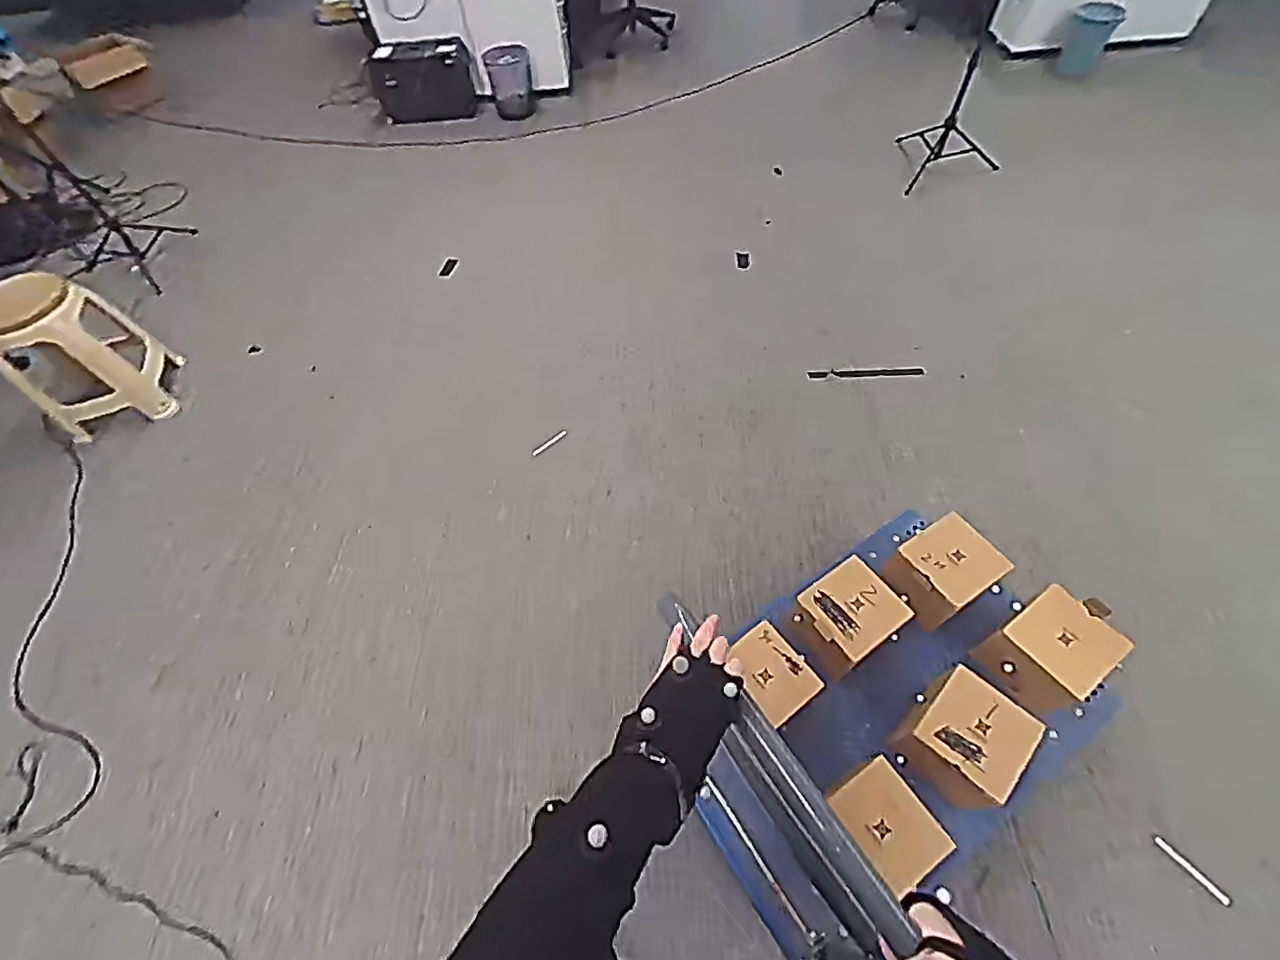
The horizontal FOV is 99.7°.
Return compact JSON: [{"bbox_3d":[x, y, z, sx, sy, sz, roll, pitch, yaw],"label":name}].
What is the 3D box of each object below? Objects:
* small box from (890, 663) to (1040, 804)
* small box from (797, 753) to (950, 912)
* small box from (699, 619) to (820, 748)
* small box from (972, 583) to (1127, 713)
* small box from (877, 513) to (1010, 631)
[{"bbox_3d":[0.613,0.495,1.046,0.179,0.176,0.168,-40,63,-21],"label":"small box"},{"bbox_3d":[0.404,0.629,0.974,0.179,0.176,0.168,-29,60,-15],"label":"small box"},{"bbox_3d":[0.238,0.426,1.117,0.179,0.176,0.168,-33,62,-16],"label":"small box"},{"bbox_3d":[0.832,0.354,1.125,0.179,0.176,0.168,-32,60,-16],"label":"small box"},{"bbox_3d":[0.675,0.212,1.227,0.179,0.176,0.168,-29,59,-14],"label":"small box"}]
